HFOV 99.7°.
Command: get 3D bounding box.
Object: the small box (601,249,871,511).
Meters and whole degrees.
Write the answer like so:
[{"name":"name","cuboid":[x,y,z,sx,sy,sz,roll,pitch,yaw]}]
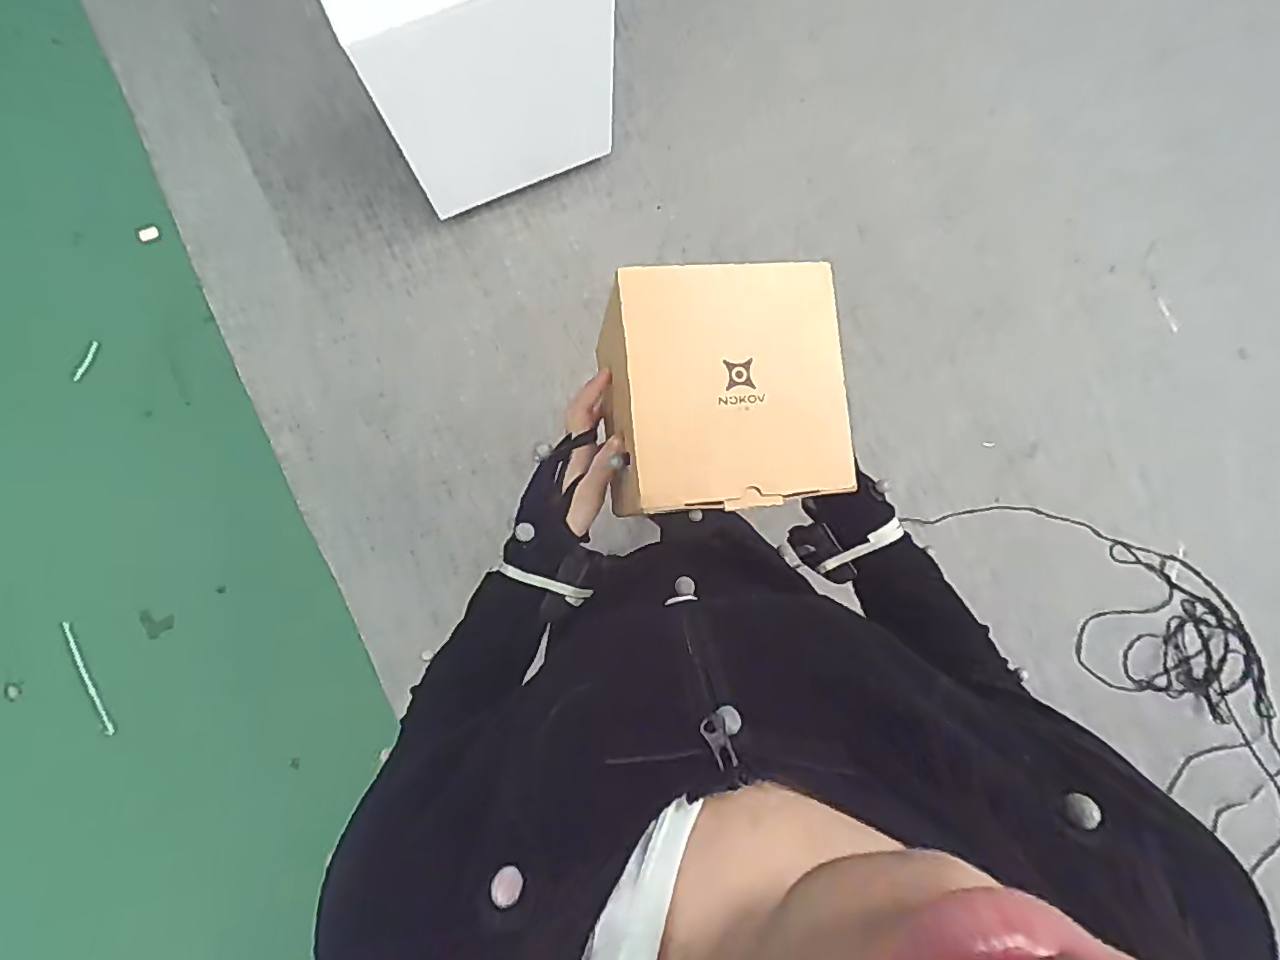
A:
[{"name":"small box","cuboid":[0.063,-0.070,0.456,0.168,0.176,0.179,-6,87,-10]}]
